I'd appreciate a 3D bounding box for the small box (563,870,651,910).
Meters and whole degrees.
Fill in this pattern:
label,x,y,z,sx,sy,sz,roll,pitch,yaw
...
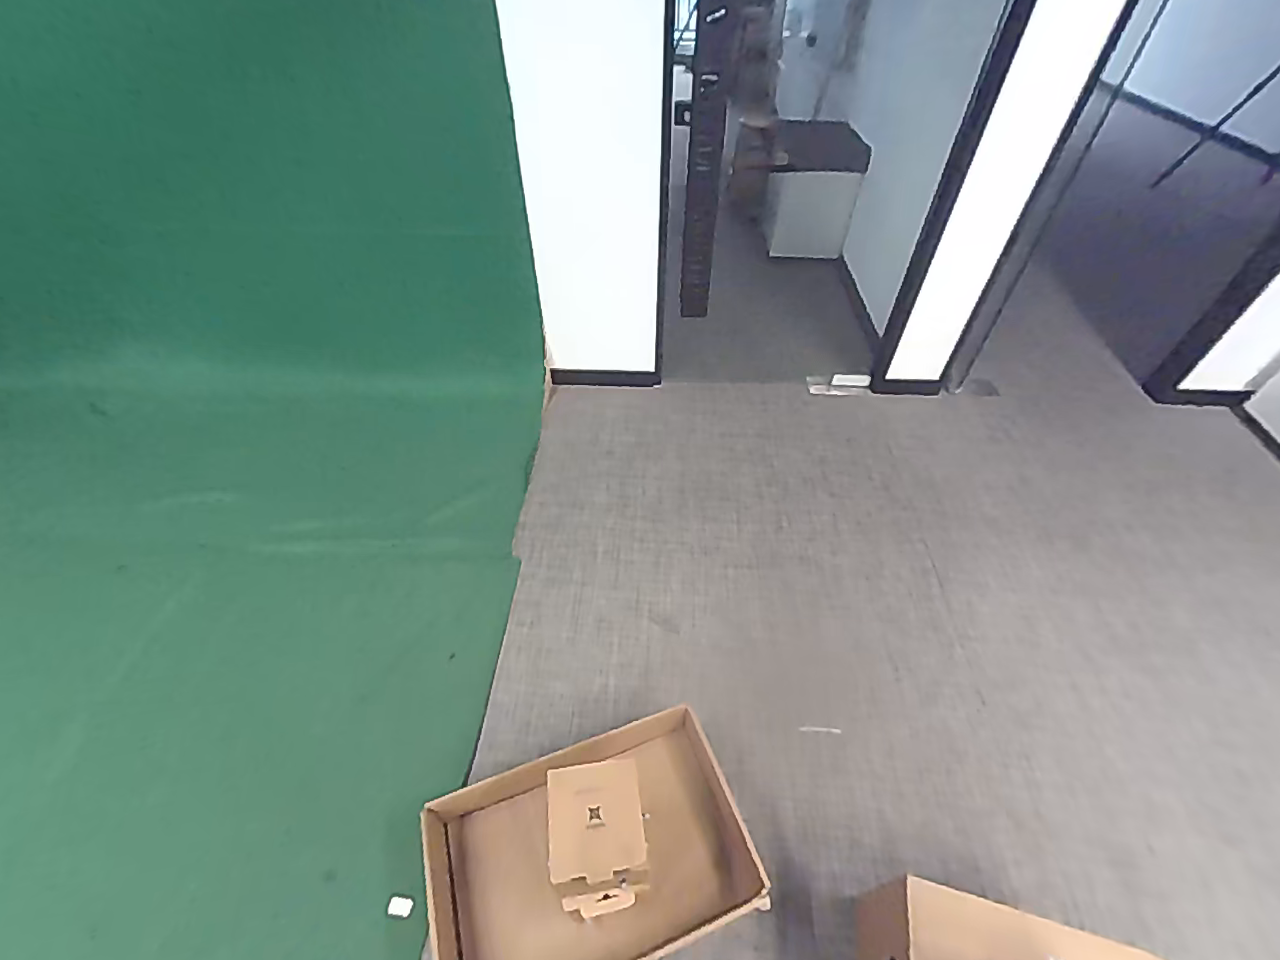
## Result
label,x,y,z,sx,sy,sz,roll,pitch,yaw
small box,-0.073,0.762,1.119,0.168,0.176,0.179,-11,46,-8

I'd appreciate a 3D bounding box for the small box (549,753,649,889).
label,x,y,z,sx,sy,sz,roll,pitch,yaw
small box,-0.075,0.641,1.011,0.168,0.176,0.179,-7,45,-6
